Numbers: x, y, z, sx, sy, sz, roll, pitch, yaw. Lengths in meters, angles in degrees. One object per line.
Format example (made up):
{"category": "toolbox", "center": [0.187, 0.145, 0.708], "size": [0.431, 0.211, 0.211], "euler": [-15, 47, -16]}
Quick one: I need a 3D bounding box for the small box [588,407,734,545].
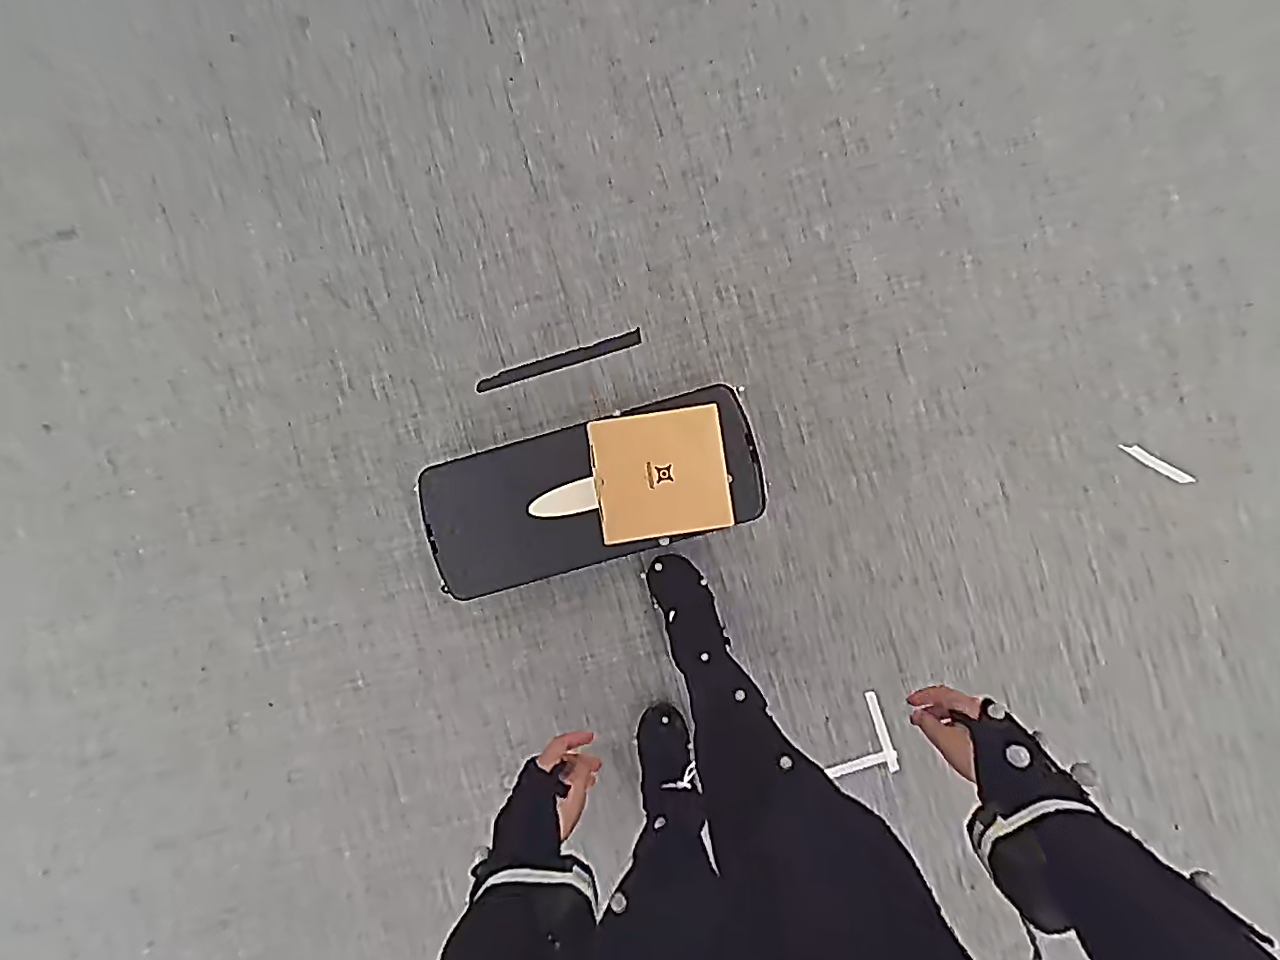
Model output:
{"category": "small box", "center": [0.029, -0.008, 0.790], "size": [0.179, 0.176, 0.168], "euler": [-9, 91, 2]}
